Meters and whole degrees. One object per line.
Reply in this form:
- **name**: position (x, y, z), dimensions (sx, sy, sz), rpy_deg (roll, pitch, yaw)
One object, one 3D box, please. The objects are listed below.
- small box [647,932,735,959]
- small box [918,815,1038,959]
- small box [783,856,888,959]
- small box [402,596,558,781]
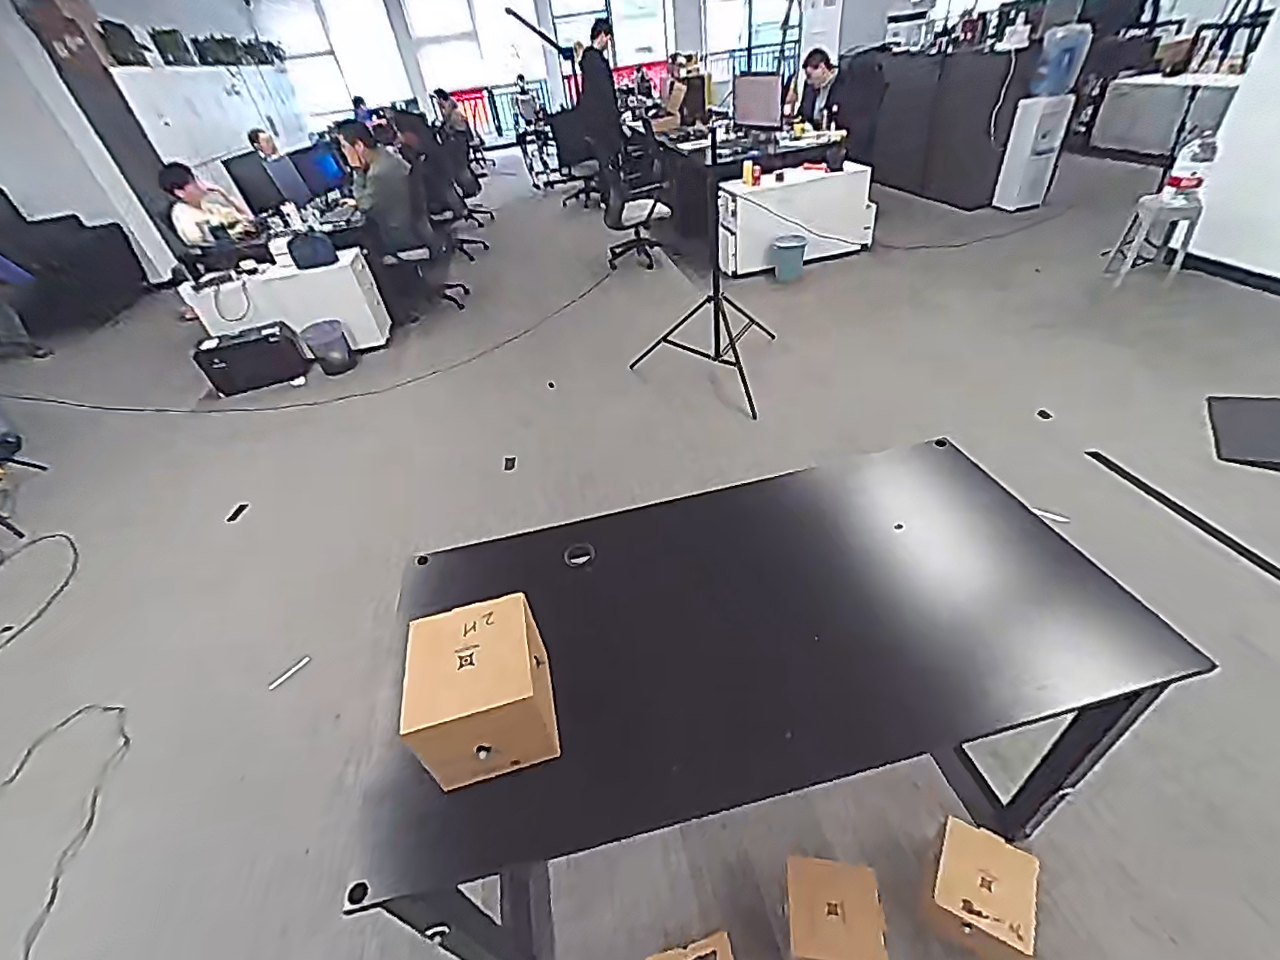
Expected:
- **small box**: position (0.115, 1.002, 1.020), dimensions (0.168, 0.176, 0.179), rpy_deg (-14, 41, -6)
- **small box**: position (0.685, 0.842, 1.106), dimensions (0.168, 0.176, 0.179), rpy_deg (16, 45, 28)
- **small box**: position (0.387, 0.898, 1.098), dimensions (0.179, 0.176, 0.168), rpy_deg (-1, 39, 12)
- **small box**: position (-0.221, 0.303, 0.776), dimensions (0.168, 0.176, 0.179), rpy_deg (-14, 39, -7)
